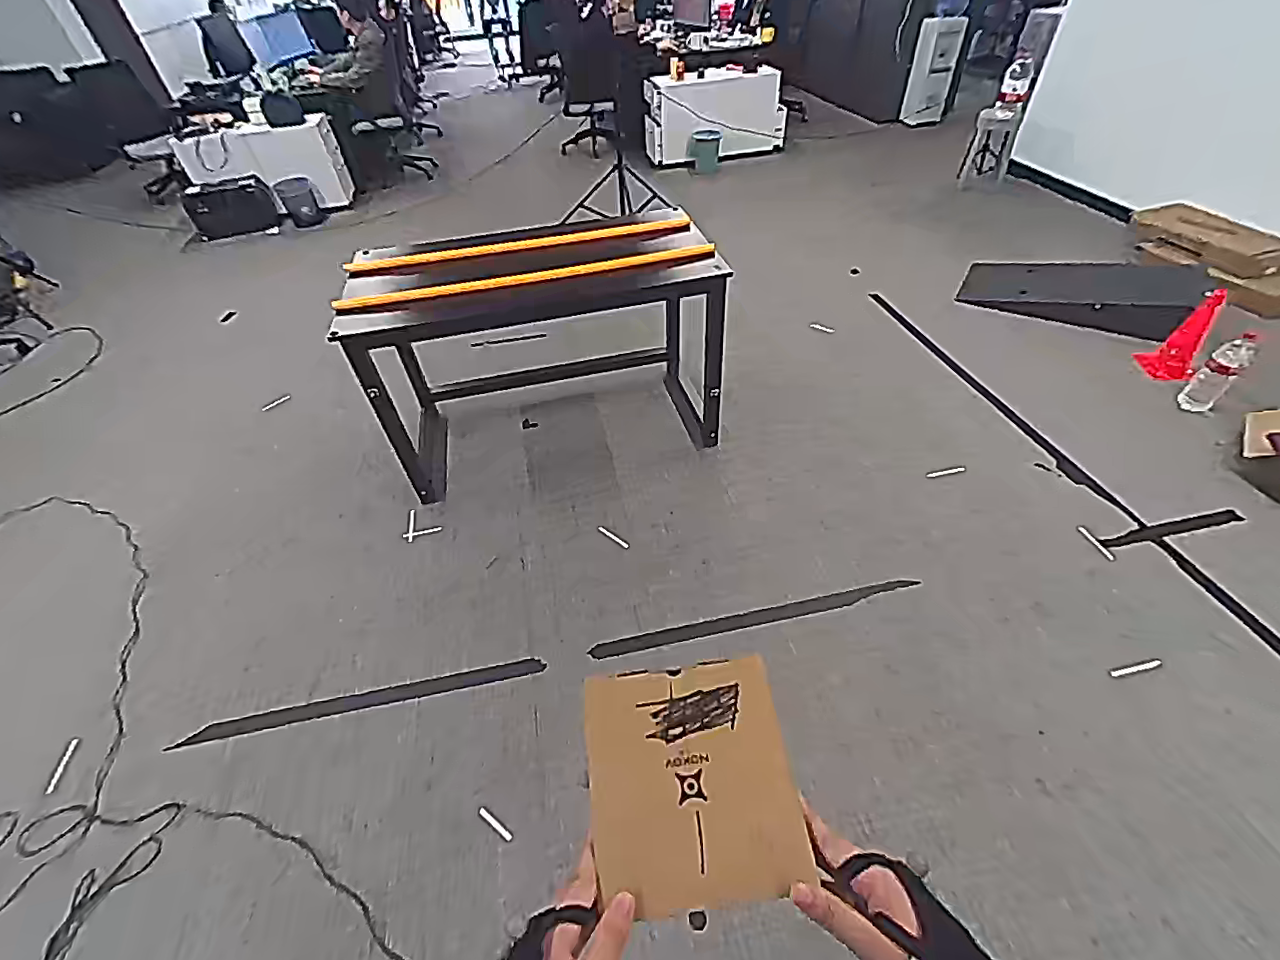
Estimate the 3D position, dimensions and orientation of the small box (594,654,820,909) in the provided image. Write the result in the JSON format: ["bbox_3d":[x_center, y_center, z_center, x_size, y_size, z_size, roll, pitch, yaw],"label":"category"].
[{"bbox_3d":[0.047,0.285,0.511,0.168,0.176,0.179,-6,54,-2],"label":"small box"}]
